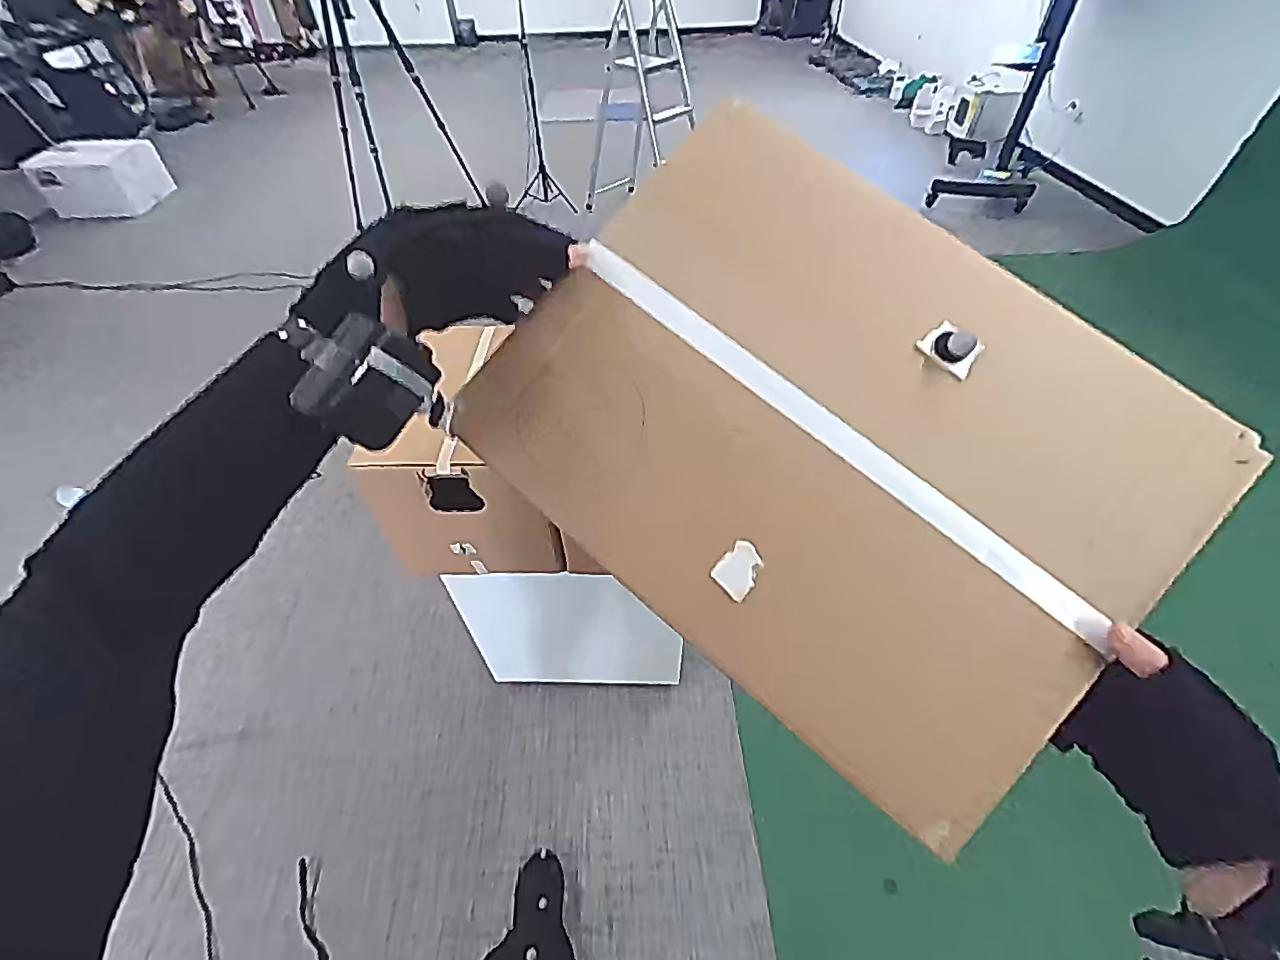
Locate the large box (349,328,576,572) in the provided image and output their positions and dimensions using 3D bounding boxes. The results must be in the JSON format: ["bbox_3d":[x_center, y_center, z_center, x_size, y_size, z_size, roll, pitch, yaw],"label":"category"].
[{"bbox_3d":[-0.311,-0.064,1.097,0.320,0.320,0.408,0,46,0],"label":"large box"}]
